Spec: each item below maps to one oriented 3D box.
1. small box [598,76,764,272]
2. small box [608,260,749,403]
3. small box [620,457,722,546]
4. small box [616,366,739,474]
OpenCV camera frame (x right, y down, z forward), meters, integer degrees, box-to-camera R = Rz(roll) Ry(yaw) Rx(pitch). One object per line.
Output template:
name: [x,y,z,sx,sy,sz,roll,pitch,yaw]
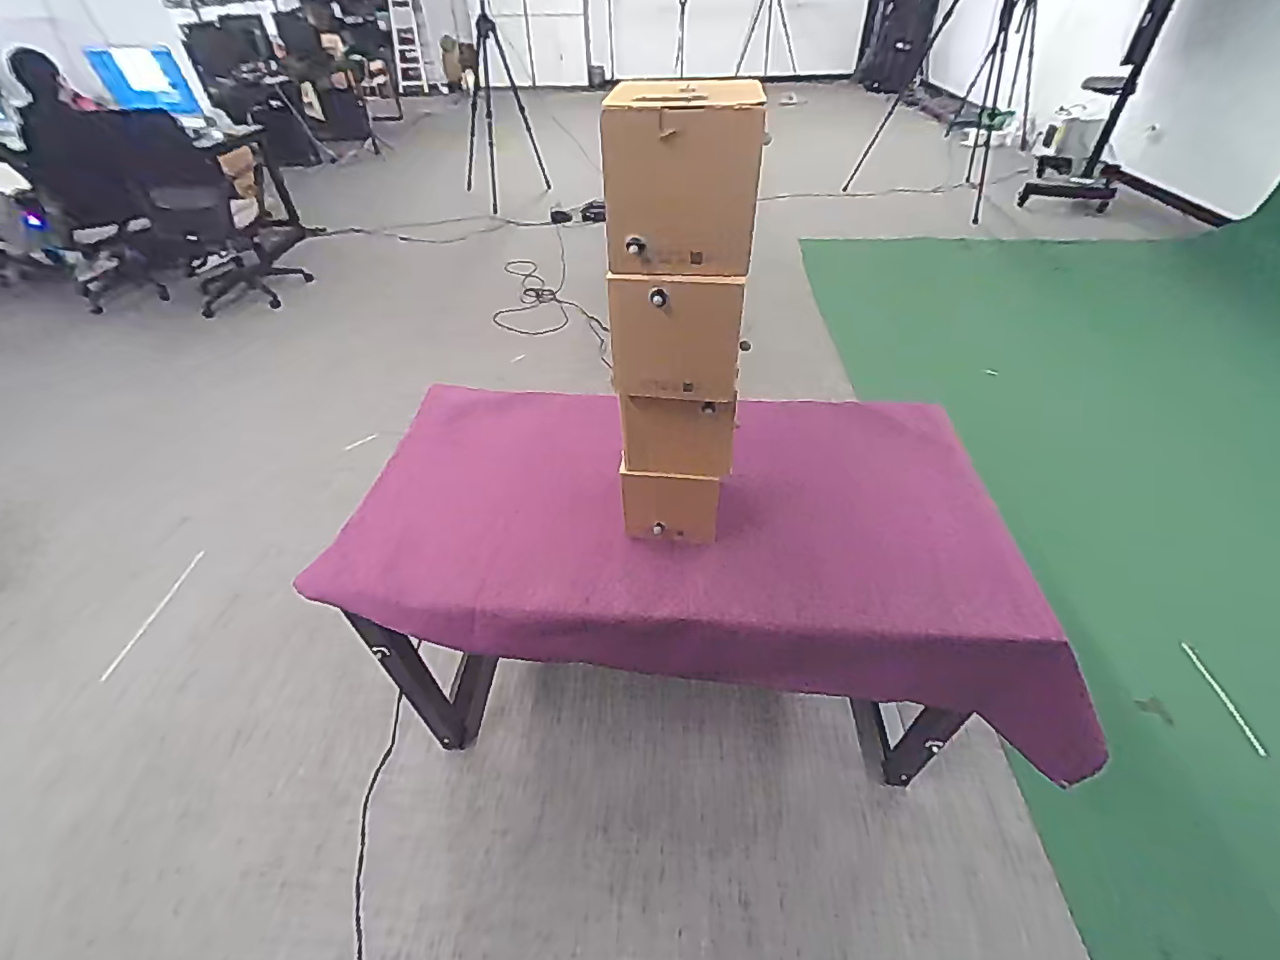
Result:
small box: [0.051,-0.357,0.635,0.168,0.176,0.179,3,43,5]
small box: [0.057,-0.227,0.738,0.168,0.176,0.179,5,43,9]
small box: [0.063,-0.006,0.978,0.168,0.176,0.179,4,45,8]
small box: [0.065,-0.124,0.867,0.179,0.176,0.168,4,44,7]
